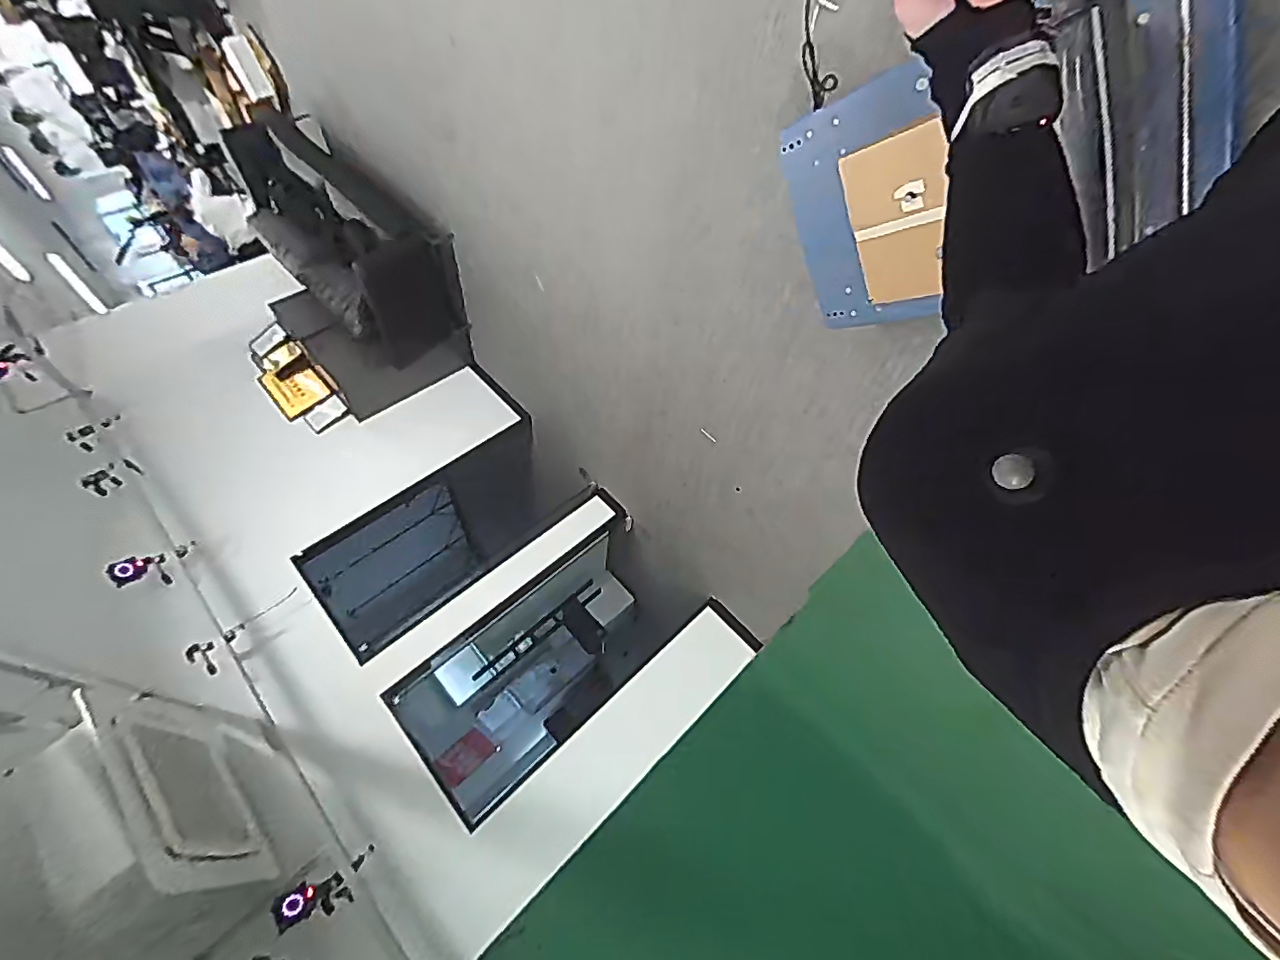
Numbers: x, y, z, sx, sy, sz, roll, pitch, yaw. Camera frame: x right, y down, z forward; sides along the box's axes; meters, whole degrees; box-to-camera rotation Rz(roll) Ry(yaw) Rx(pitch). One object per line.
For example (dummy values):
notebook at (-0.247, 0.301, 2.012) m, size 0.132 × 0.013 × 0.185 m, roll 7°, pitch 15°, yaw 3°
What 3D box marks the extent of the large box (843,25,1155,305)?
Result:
large box at (0.690, -0.580, 1.059) m, size 0.408 × 0.320 × 0.320 m, roll 12°, pitch 131°, yaw 55°
